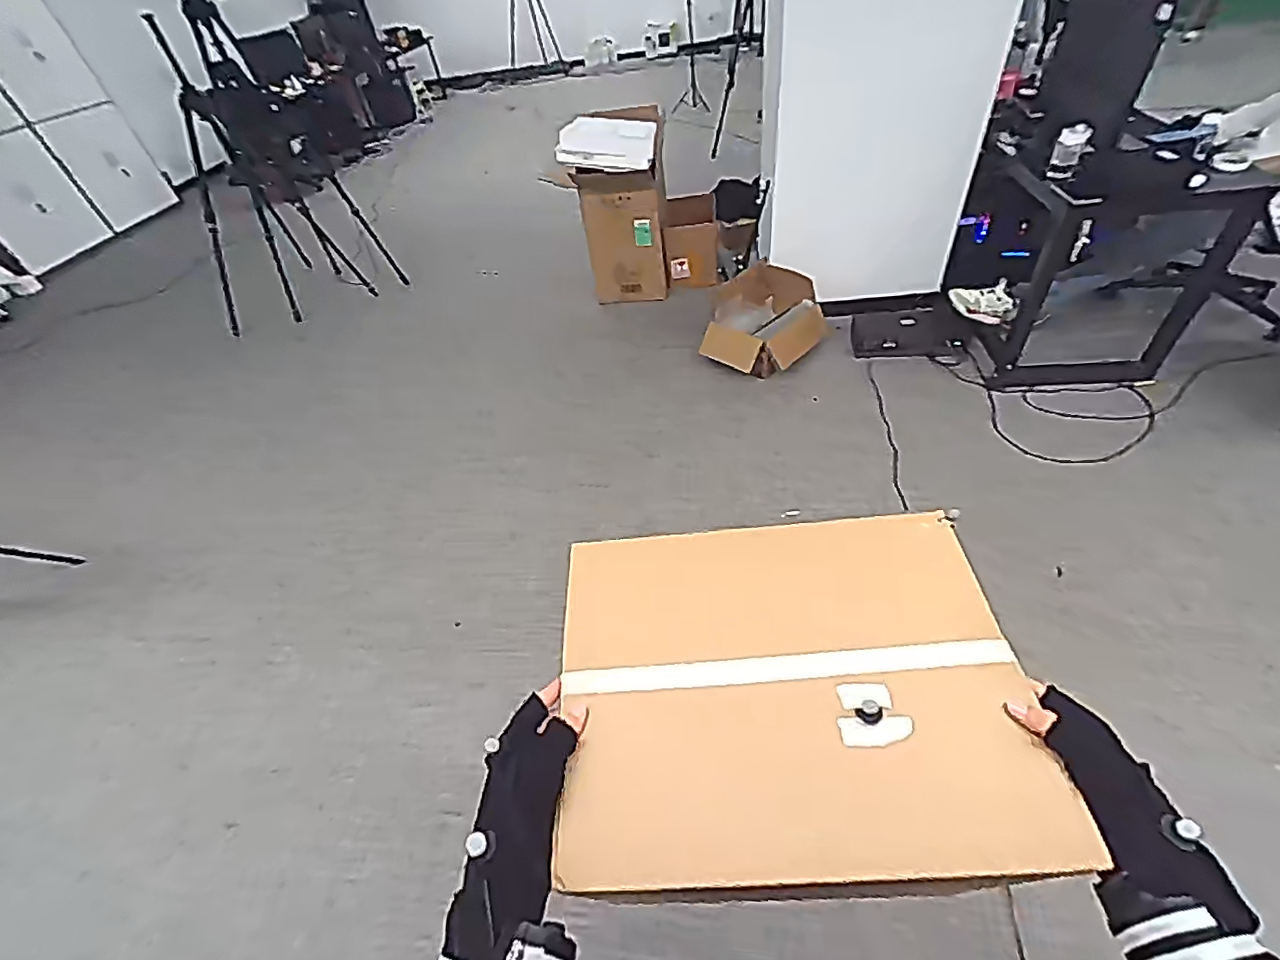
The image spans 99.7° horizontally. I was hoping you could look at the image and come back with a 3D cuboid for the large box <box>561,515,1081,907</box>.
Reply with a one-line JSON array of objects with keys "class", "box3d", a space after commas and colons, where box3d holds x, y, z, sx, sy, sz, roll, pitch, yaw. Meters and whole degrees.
[{"class": "large box", "box3d": [0.142, 0.273, 0.619, 0.408, 0.320, 0.320, -6, 50, 4]}]
